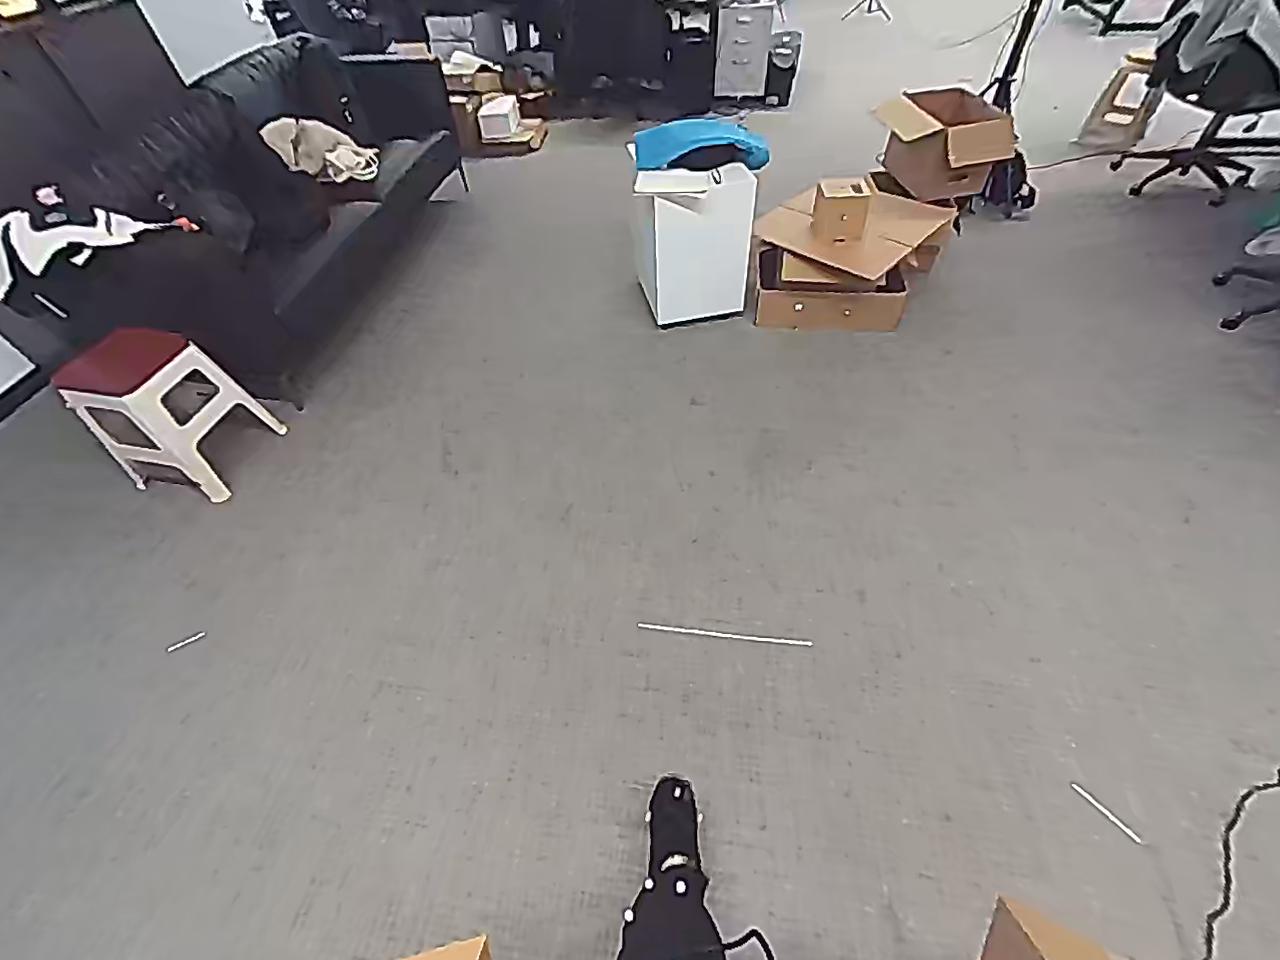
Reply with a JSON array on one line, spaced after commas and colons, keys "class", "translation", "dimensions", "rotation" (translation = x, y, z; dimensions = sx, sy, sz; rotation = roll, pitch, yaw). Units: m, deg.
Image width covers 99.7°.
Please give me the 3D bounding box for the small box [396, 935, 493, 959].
[{"class": "small box", "translation": [-0.258, 0.681, 0.612], "dimensions": [0.168, 0.179, 0.176], "rotation": [-13, 81, -4]}]
